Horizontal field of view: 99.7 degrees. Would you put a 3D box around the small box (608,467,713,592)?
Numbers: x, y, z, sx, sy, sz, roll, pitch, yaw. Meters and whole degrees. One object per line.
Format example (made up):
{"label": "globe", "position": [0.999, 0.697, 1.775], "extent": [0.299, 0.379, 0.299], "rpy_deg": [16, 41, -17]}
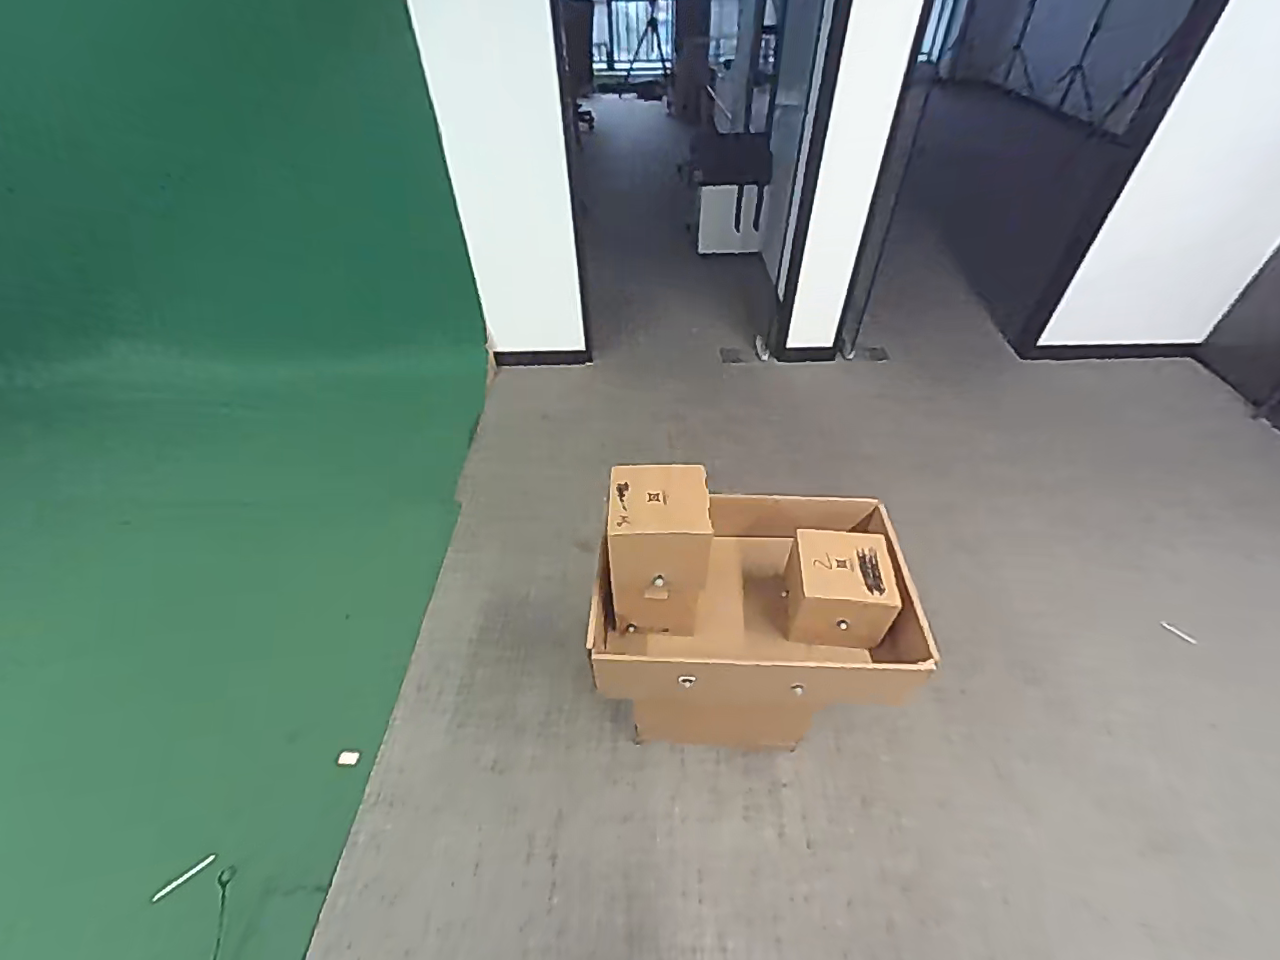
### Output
{"label": "small box", "position": [0.036, 0.093, 1.001], "extent": [0.179, 0.176, 0.168], "rpy_deg": [0, 45, 1]}
